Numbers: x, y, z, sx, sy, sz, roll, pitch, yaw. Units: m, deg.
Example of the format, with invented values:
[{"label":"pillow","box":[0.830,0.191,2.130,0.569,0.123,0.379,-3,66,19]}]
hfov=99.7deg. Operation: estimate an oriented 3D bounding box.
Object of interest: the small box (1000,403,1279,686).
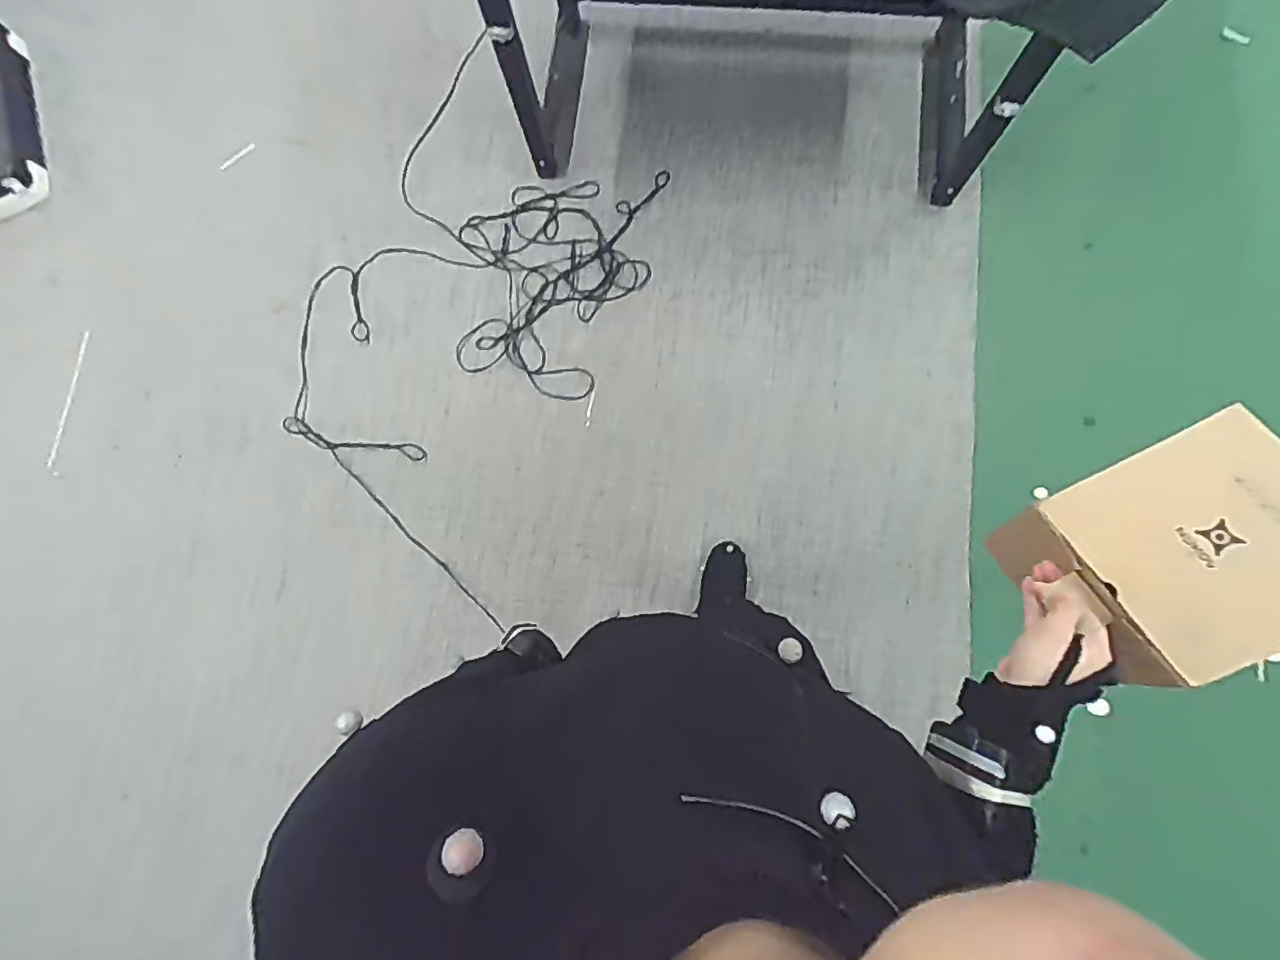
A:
[{"label":"small box","box":[0.465,0.068,0.487,0.179,0.176,0.168,-30,67,7]}]
